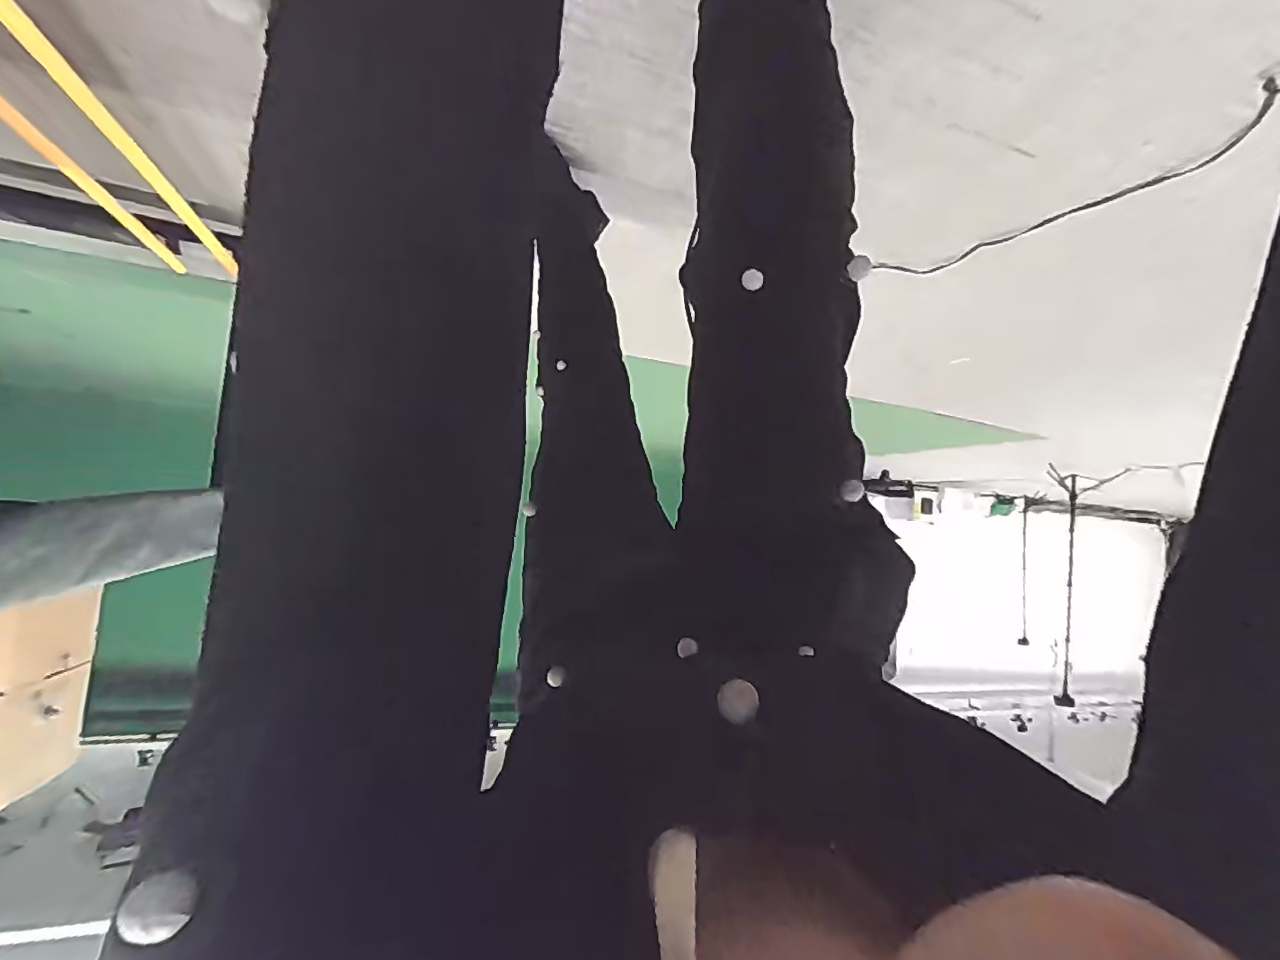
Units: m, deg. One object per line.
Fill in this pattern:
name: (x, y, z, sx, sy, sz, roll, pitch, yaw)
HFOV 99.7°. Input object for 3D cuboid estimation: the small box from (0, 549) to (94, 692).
small box: (-0.951, 0.195, 0.785, 0.179, 0.176, 0.168, 8, 176, -15)

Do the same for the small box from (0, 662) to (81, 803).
small box: (-0.969, 0.358, 0.774, 0.179, 0.176, 0.168, 6, 177, -13)
